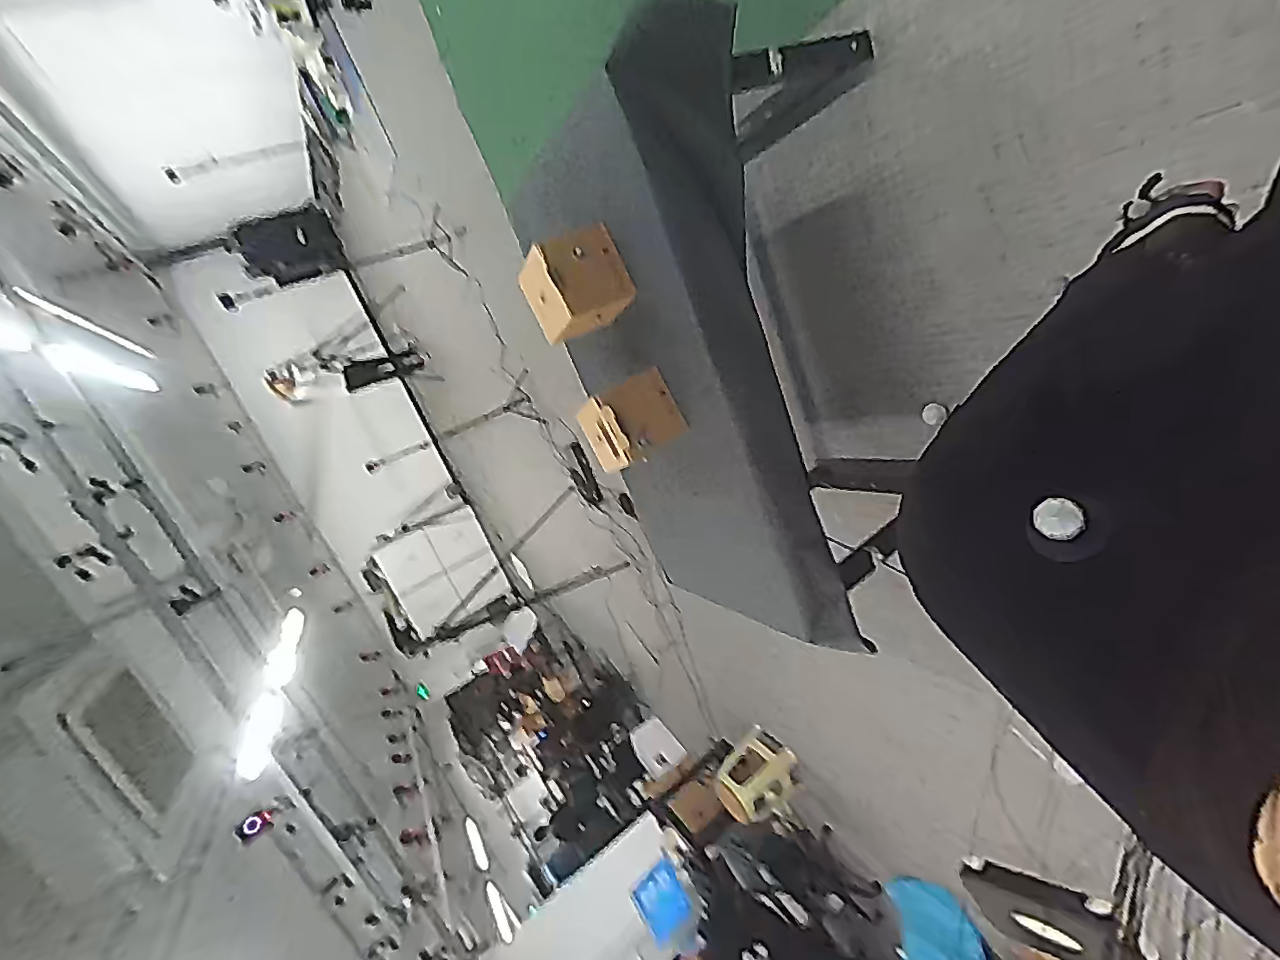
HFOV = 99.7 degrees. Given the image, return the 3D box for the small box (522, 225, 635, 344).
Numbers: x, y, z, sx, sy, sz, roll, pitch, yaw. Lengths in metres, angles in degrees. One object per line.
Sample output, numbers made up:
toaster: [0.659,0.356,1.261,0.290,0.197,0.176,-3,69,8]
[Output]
small box: [-0.131,-0.426,1.182,0.168,0.176,0.179,64,158,-5]
